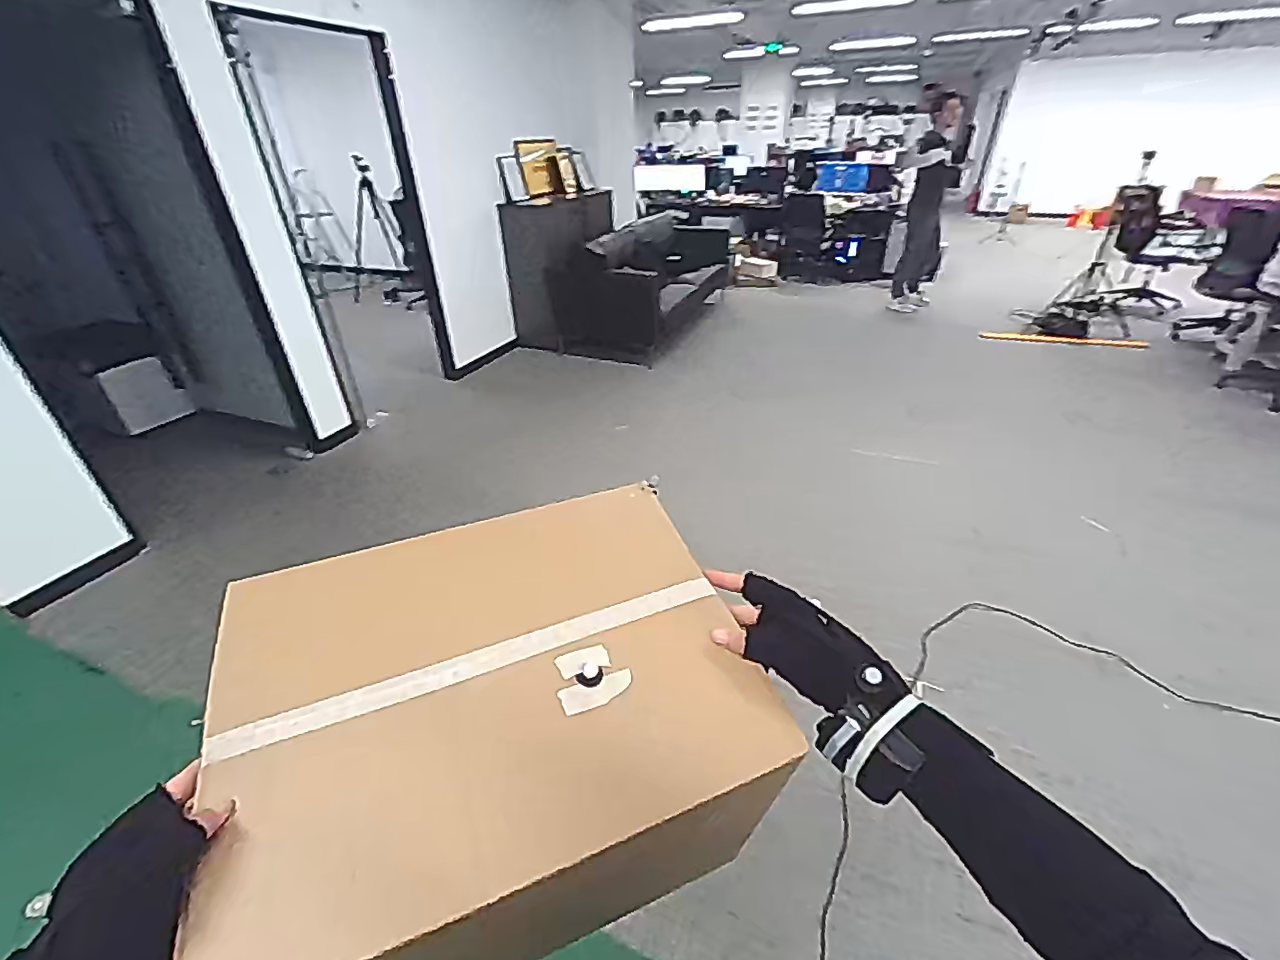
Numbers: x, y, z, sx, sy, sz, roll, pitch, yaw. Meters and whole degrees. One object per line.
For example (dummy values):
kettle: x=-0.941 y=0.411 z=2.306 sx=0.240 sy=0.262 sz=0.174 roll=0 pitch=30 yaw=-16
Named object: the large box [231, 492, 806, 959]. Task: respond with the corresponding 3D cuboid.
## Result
large box: x=-0.114 y=0.266 z=0.559 sx=0.408 sy=0.320 sz=0.320 roll=-14 pitch=46 yaw=-18
